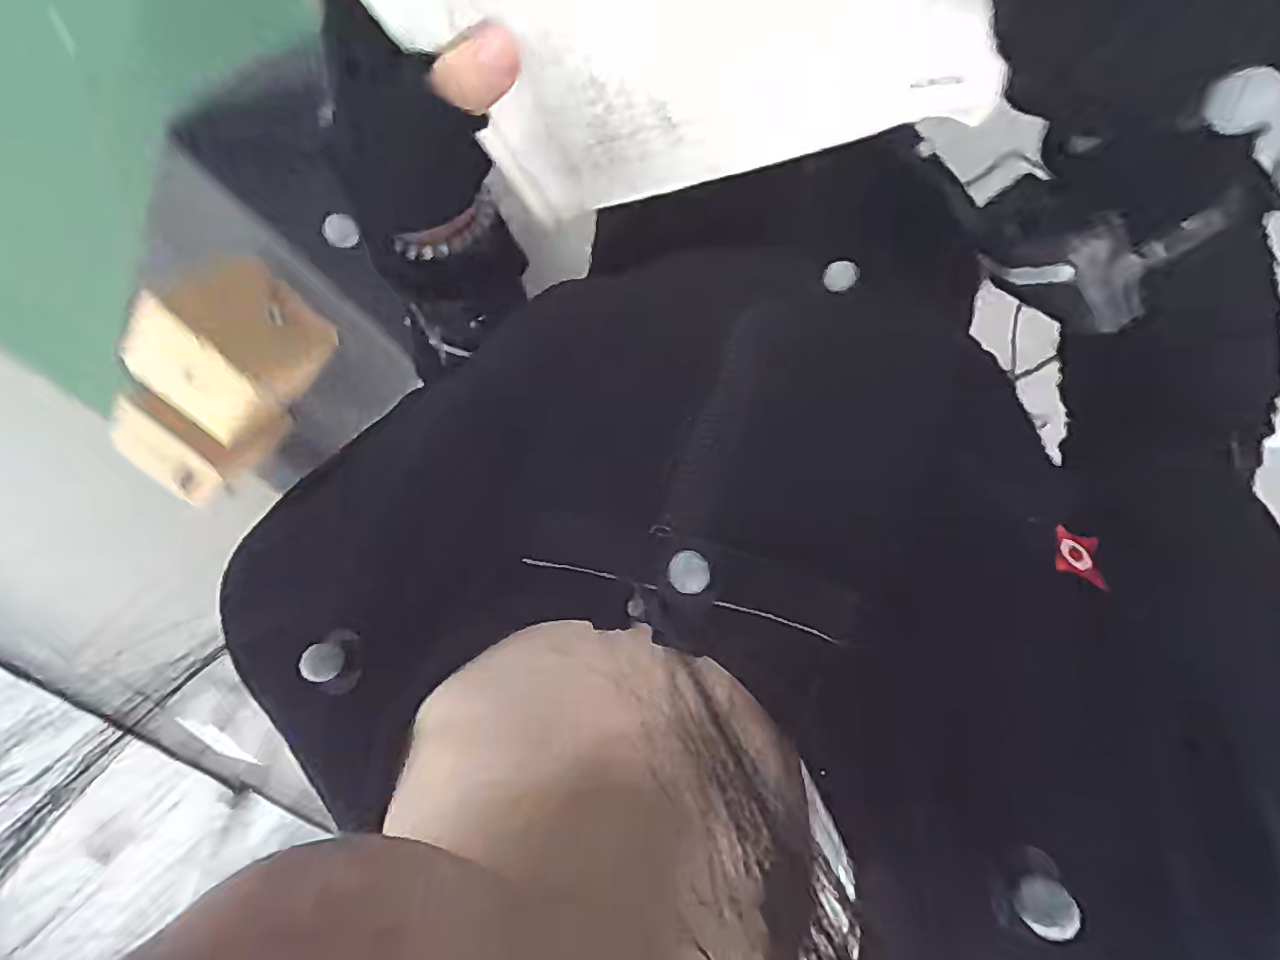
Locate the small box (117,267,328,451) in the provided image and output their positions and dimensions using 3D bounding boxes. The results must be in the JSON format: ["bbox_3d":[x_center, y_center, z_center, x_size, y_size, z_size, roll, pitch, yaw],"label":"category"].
[{"bbox_3d":[-0.611,-0.179,0.806,0.179,0.176,0.168,-29,115,35],"label":"small box"}]
